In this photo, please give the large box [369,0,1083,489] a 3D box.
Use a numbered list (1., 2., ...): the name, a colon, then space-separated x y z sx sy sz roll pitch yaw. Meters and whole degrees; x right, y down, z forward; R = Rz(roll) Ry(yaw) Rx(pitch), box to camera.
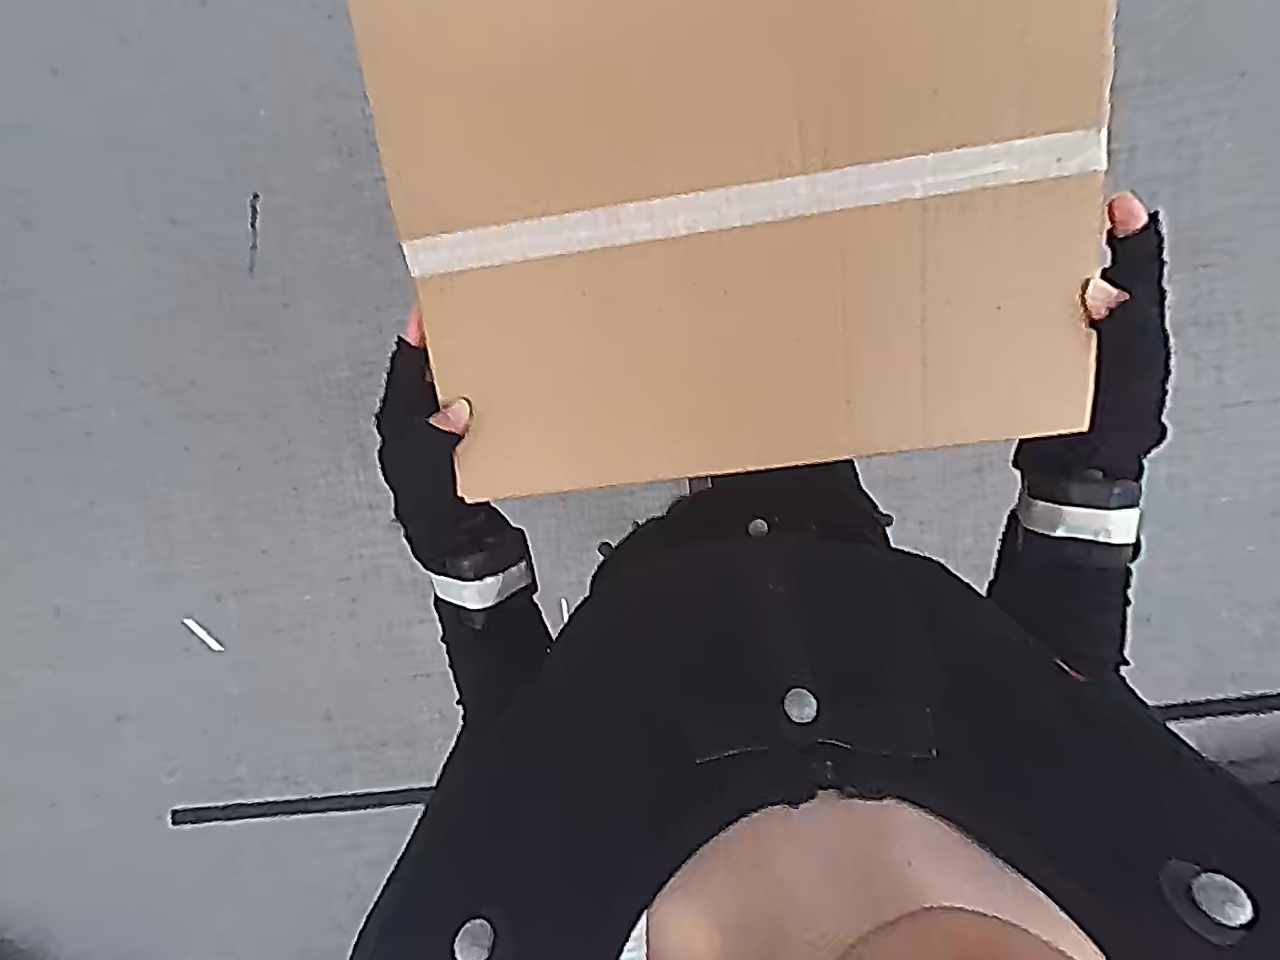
1. large box: 0.063 -0.199 0.476 0.408 0.320 0.320 -7 104 4
